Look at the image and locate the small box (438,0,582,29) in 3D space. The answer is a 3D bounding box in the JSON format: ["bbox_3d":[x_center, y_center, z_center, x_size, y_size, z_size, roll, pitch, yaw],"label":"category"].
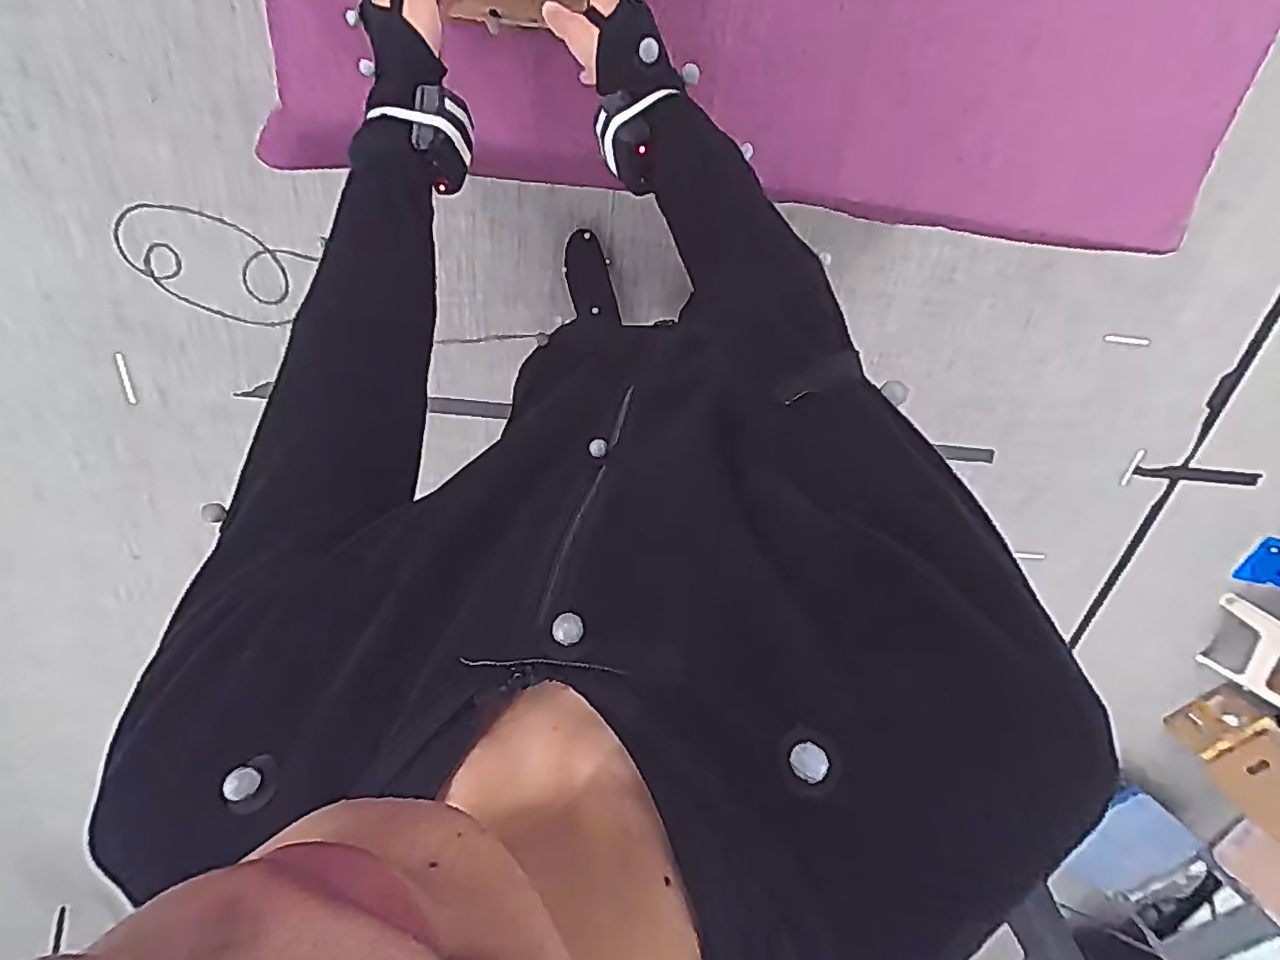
[{"bbox_3d":[-0.133,-0.555,0.496,0.168,0.176,0.179,2,118,-6],"label":"small box"}]
